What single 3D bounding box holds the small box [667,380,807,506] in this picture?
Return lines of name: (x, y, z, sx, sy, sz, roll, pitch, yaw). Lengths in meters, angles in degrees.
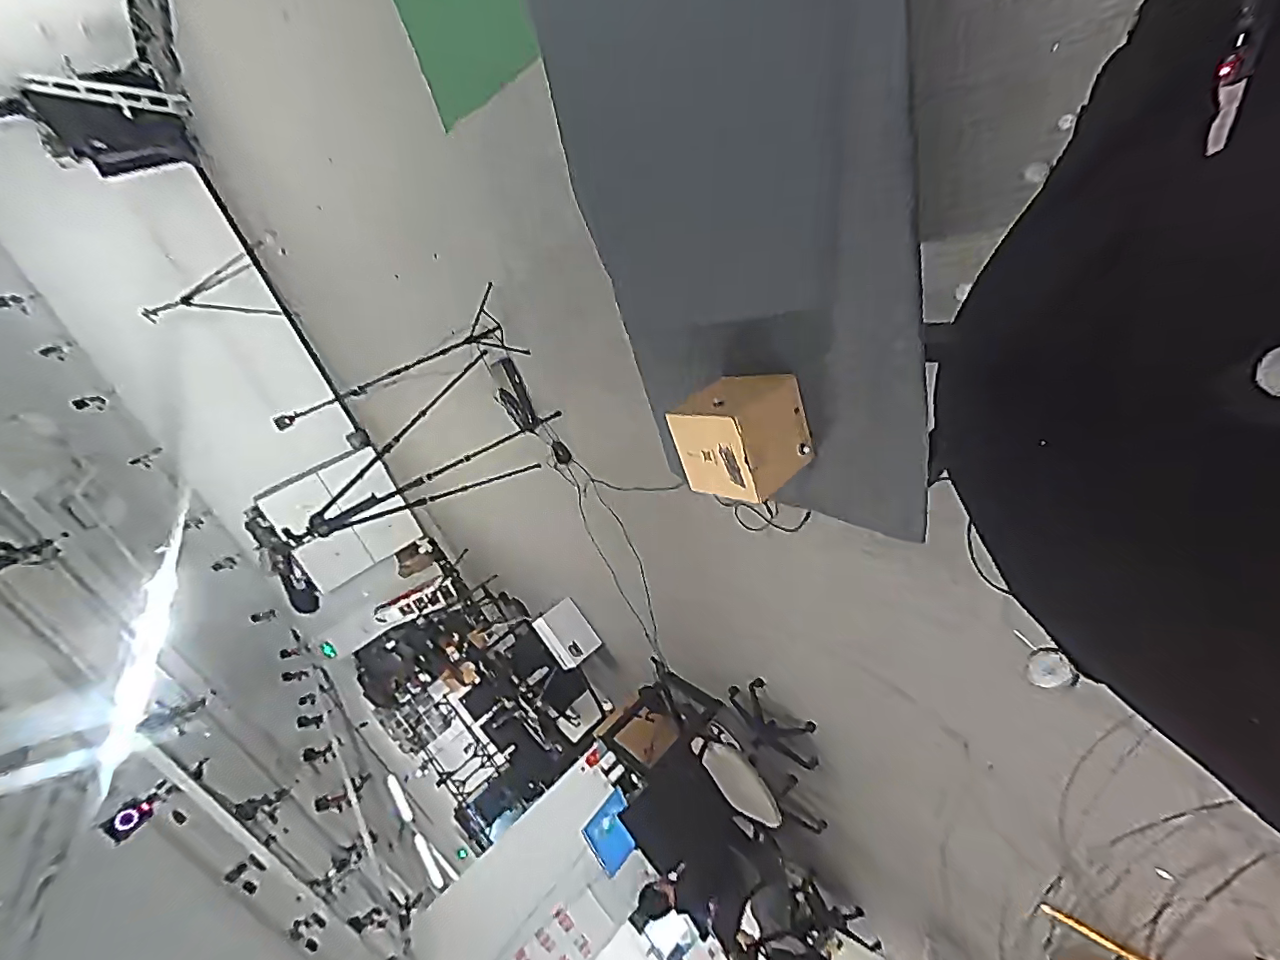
small box: (0.185, -0.075, 0.989, 0.179, 0.176, 0.168, 11, 129, 53)
